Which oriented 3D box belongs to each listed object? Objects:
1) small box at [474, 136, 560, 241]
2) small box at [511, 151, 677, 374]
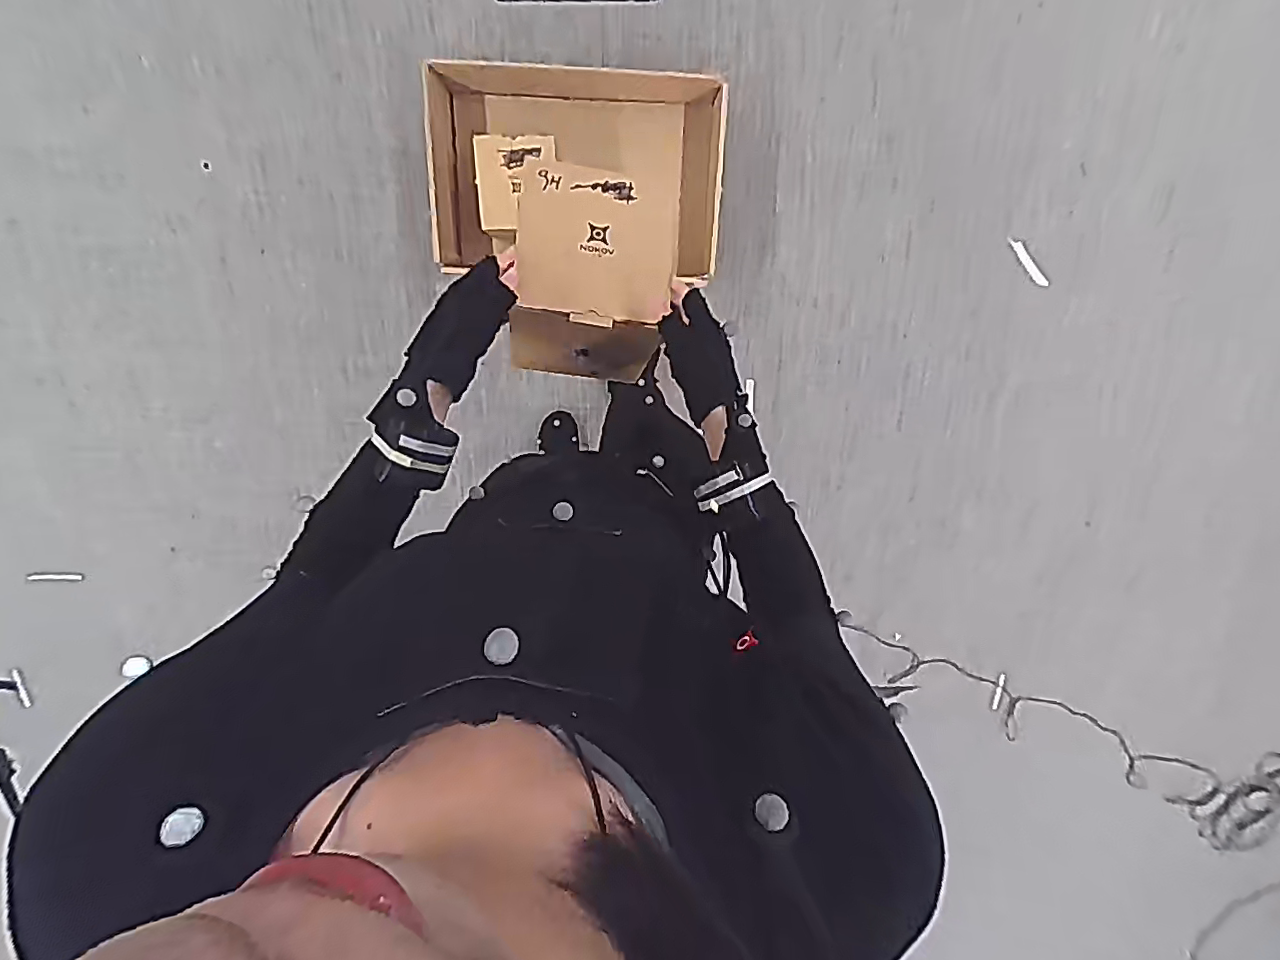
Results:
[{"bbox_3d":[-0.257,-0.631,1.187,0.168,0.176,0.179,-1,108,-2],"label":"small box"},{"bbox_3d":[-0.059,-0.239,0.641,0.168,0.176,0.179,5,79,-11],"label":"small box"}]
